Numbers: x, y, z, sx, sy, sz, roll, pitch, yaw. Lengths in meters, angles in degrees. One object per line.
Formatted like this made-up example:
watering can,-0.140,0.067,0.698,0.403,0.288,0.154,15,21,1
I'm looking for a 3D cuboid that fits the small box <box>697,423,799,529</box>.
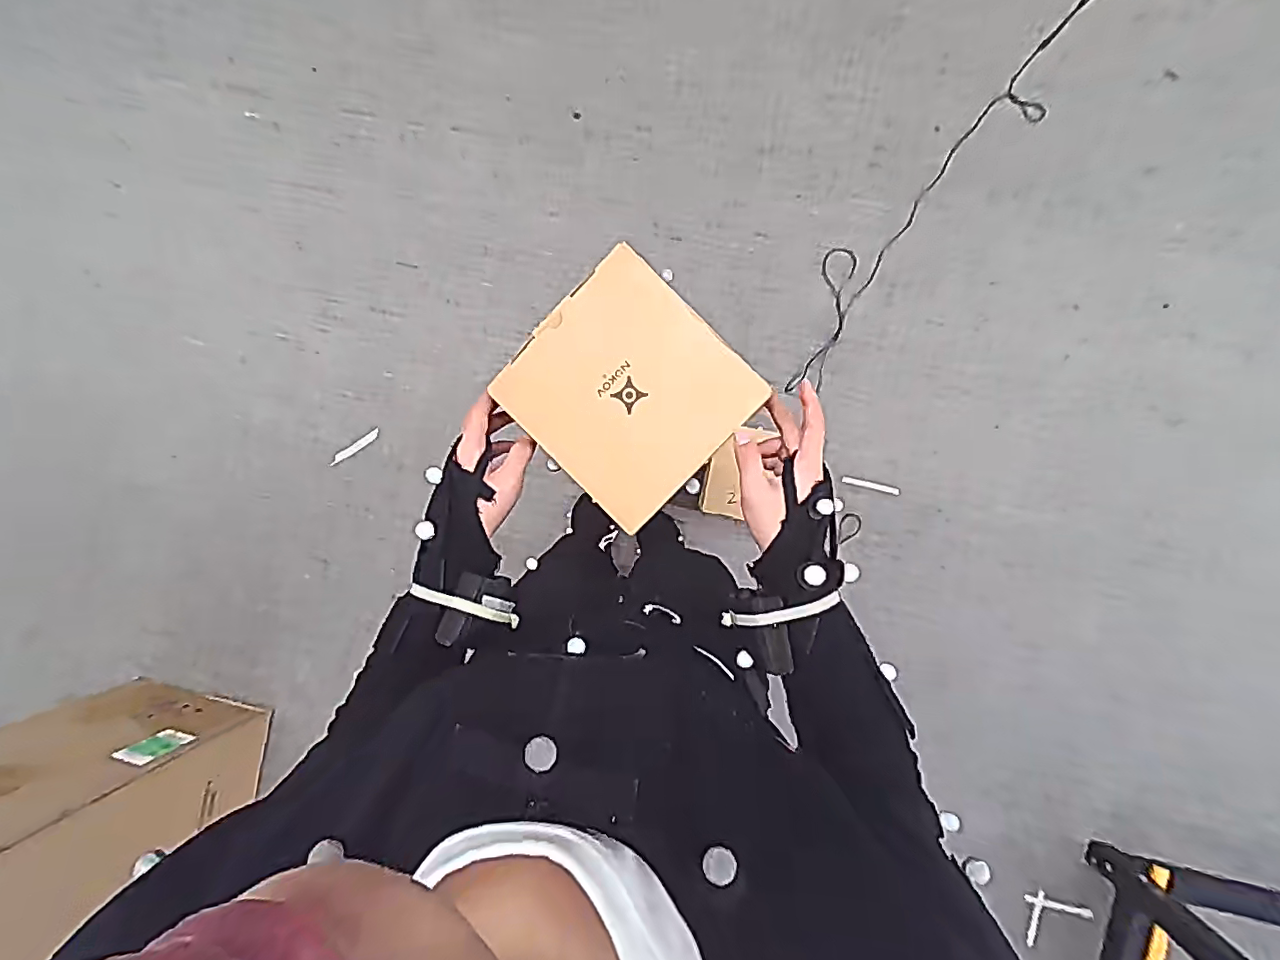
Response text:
small box,0.211,-0.007,1.099,0.168,0.176,0.179,11,91,5
